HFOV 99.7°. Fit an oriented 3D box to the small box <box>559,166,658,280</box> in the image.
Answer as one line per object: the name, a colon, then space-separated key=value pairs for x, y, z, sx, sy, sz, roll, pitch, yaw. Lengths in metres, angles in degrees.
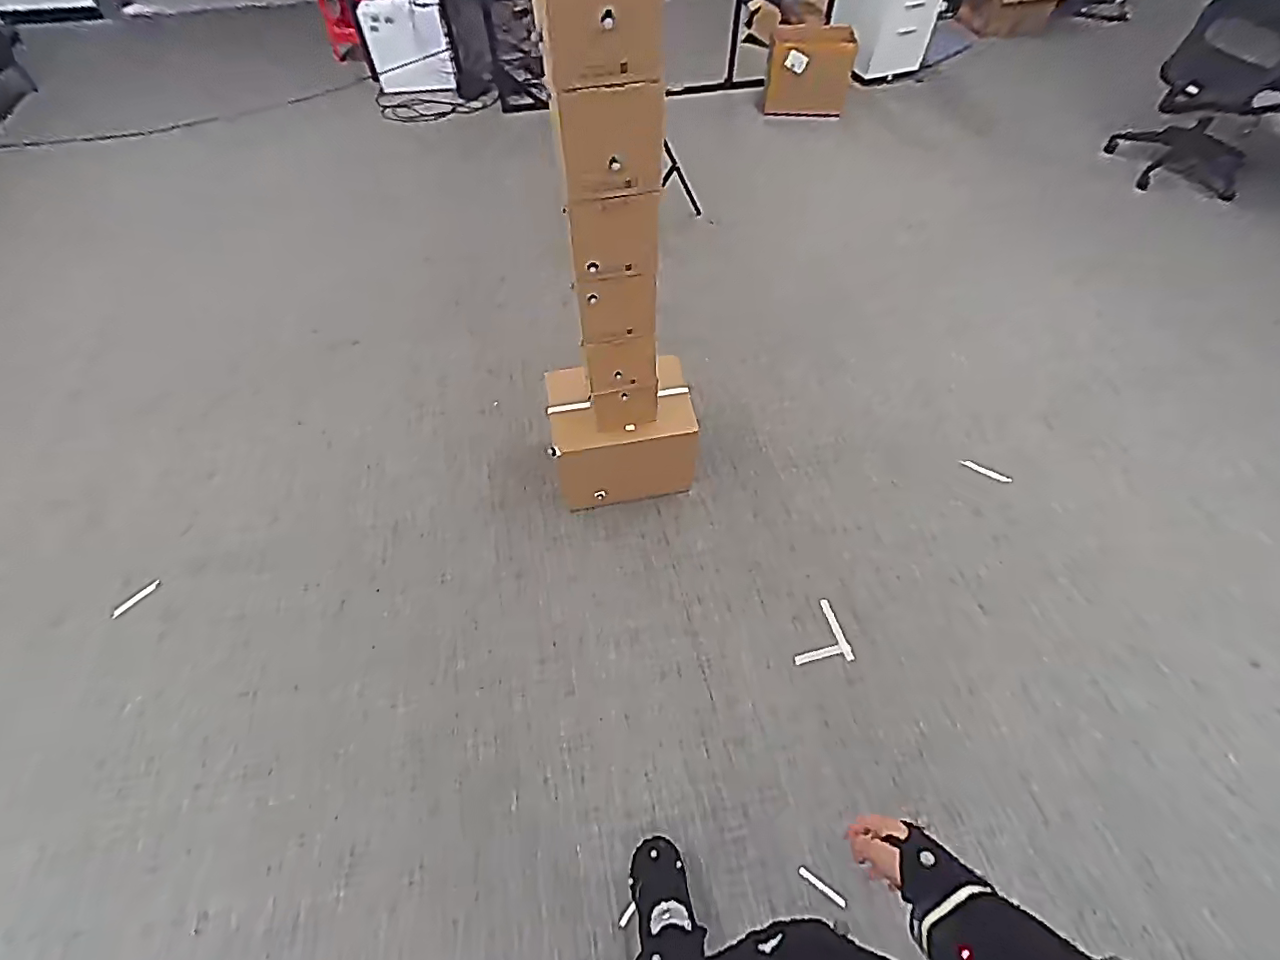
small box: x=-0.059 y=-0.511 z=1.059 sx=0.168 sy=0.176 sz=0.179 roll=-9 pitch=57 yaw=-5

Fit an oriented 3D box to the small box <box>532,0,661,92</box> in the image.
small box: x=-0.066 y=-0.691 z=0.785 sx=0.168 sy=0.176 sz=0.179 roll=-12 pitch=59 yaw=-7

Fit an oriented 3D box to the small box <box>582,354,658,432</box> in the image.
small box: x=-0.054 y=-0.250 z=1.475 sx=0.179 sy=0.176 sz=0.168 roll=-11 pitch=58 yaw=-8

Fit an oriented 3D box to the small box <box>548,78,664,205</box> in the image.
small box: x=-0.060 y=-0.600 z=0.921 sx=0.168 sy=0.176 sz=0.179 roll=-11 pitch=58 yaw=-6

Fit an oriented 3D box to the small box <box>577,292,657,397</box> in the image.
small box: x=-0.058 y=-0.333 z=1.335 sx=0.168 sy=0.176 sz=0.179 roll=-11 pitch=58 yaw=-6
